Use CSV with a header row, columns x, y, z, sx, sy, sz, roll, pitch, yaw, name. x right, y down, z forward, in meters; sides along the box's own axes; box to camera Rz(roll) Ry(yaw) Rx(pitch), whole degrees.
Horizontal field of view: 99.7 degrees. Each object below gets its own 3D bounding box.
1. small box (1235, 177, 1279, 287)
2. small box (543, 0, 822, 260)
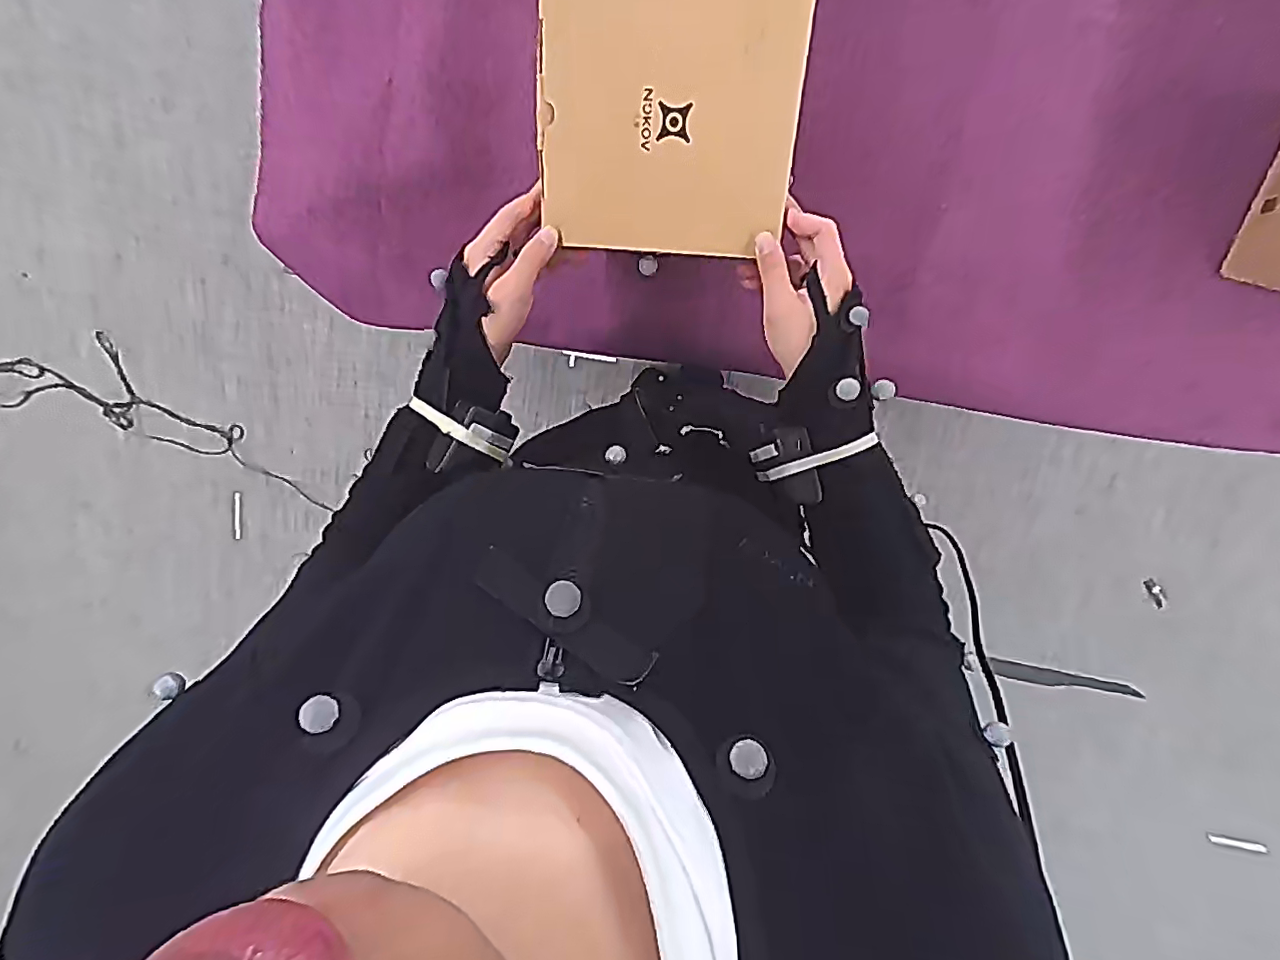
x,y,z,sx,sy,sz,roll,pitch,yaw,name
0.673,-0.241,0.438,0.179,0.176,0.168,16,103,0,small box
0.025,-0.273,0.434,0.179,0.176,0.168,5,113,2,small box
